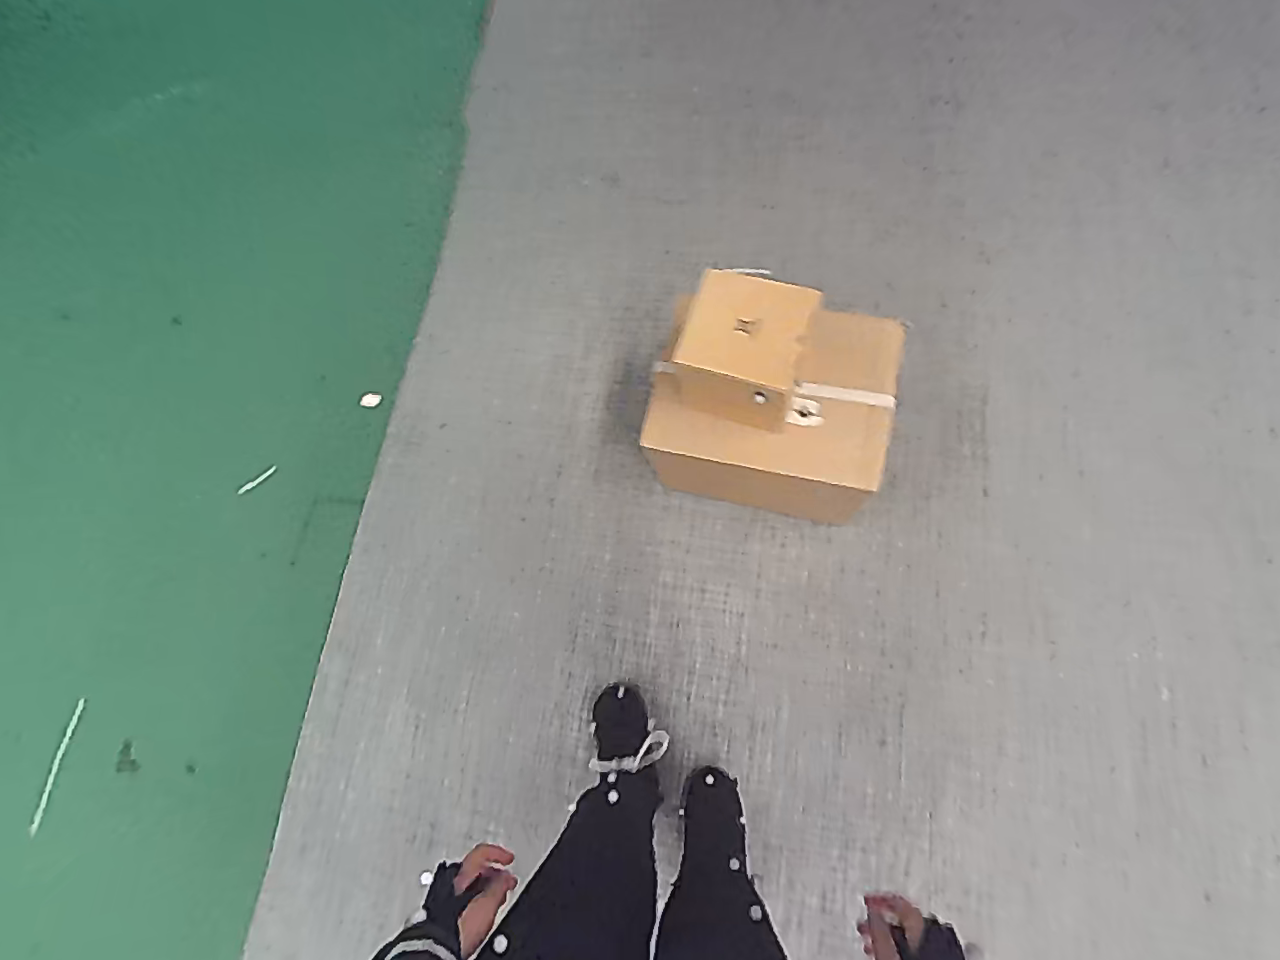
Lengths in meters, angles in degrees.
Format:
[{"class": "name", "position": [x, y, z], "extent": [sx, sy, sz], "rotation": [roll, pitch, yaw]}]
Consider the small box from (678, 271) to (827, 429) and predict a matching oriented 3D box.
[{"class": "small box", "position": [0.176, -0.198, 0.863], "extent": [0.179, 0.176, 0.168], "rotation": [18, 78, 14]}]

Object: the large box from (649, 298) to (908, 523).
[{"class": "large box", "position": [0.261, -0.124, 1.083], "extent": [0.408, 0.320, 0.320], "rotation": [12, 78, 12]}]
